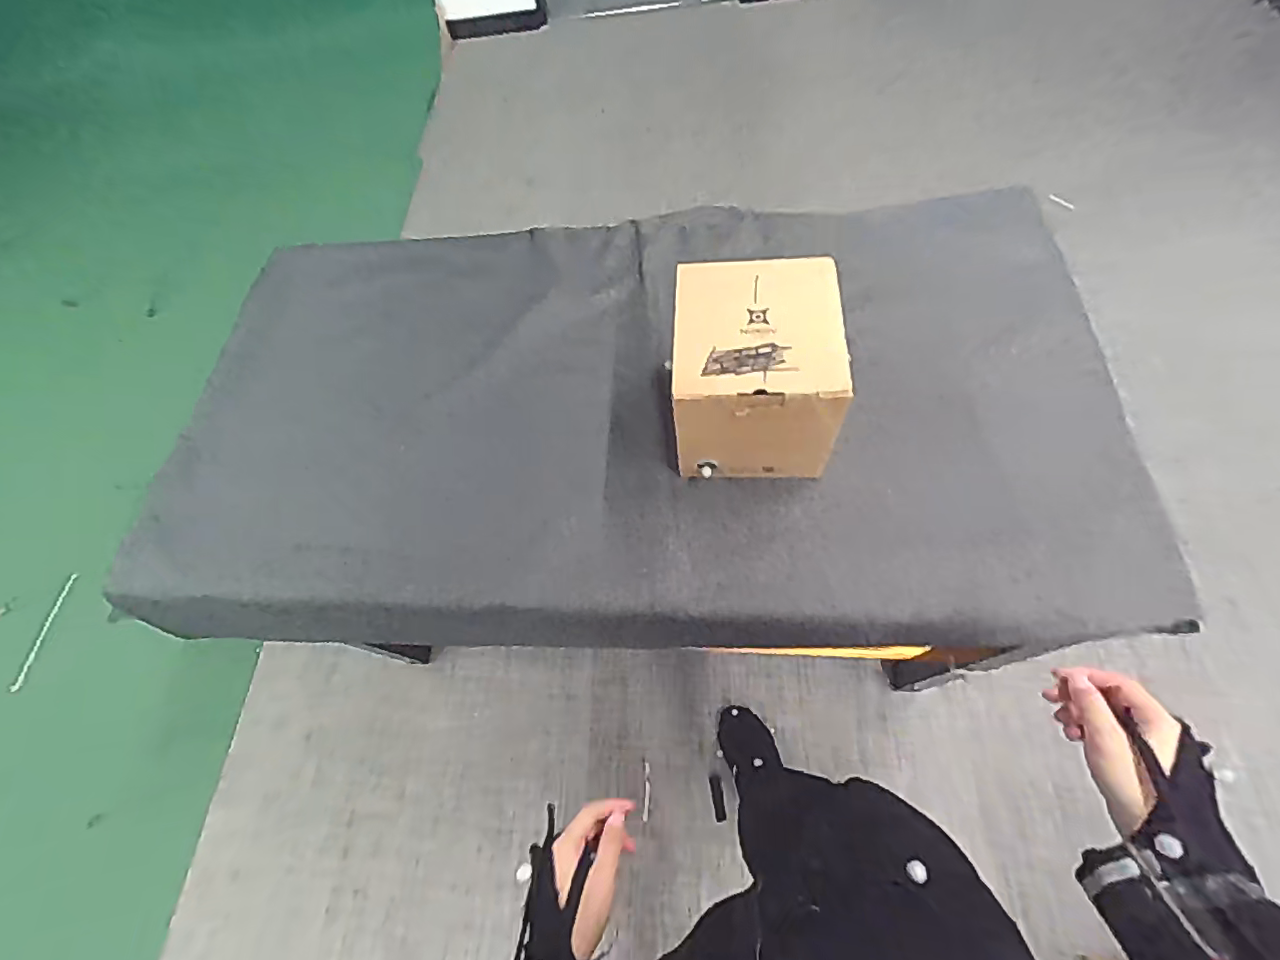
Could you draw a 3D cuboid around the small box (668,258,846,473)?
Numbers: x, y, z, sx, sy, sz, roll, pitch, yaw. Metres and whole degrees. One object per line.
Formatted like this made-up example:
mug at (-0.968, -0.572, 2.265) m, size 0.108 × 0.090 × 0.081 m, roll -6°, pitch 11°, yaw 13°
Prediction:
small box at (0.123, -0.117, 0.606) m, size 0.168 × 0.176 × 0.179 m, roll 0°, pitch 63°, yaw 7°
